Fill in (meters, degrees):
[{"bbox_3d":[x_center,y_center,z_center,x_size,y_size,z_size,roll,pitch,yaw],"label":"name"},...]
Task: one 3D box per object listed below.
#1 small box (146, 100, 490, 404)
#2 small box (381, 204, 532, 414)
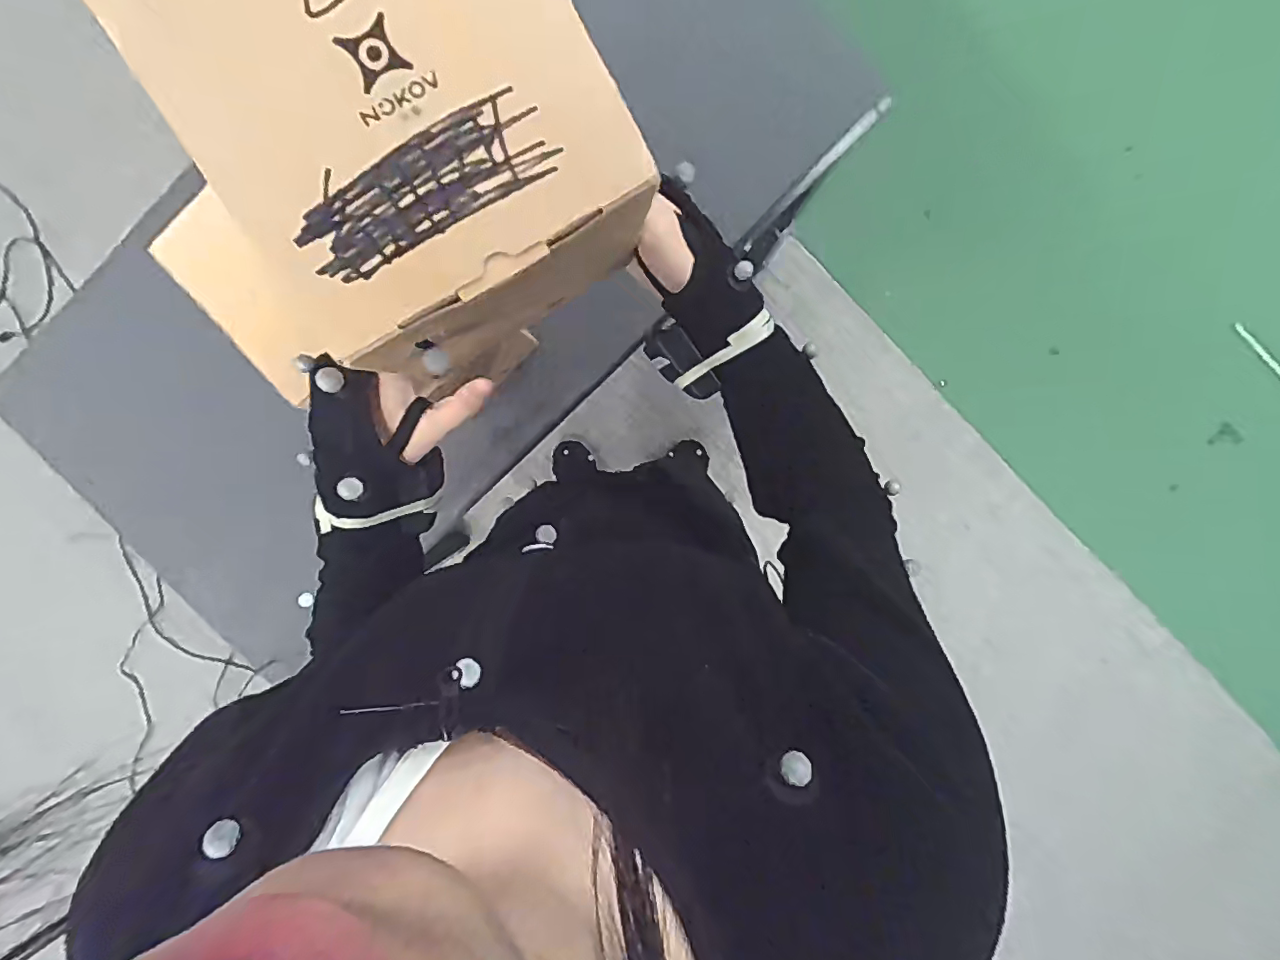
[{"bbox_3d":[-0.275,-0.186,0.506,0.168,0.176,0.179,-42,93,5],"label":"small box"},{"bbox_3d":[-0.264,-0.193,0.667,0.168,0.176,0.179,-43,93,6],"label":"small box"}]
